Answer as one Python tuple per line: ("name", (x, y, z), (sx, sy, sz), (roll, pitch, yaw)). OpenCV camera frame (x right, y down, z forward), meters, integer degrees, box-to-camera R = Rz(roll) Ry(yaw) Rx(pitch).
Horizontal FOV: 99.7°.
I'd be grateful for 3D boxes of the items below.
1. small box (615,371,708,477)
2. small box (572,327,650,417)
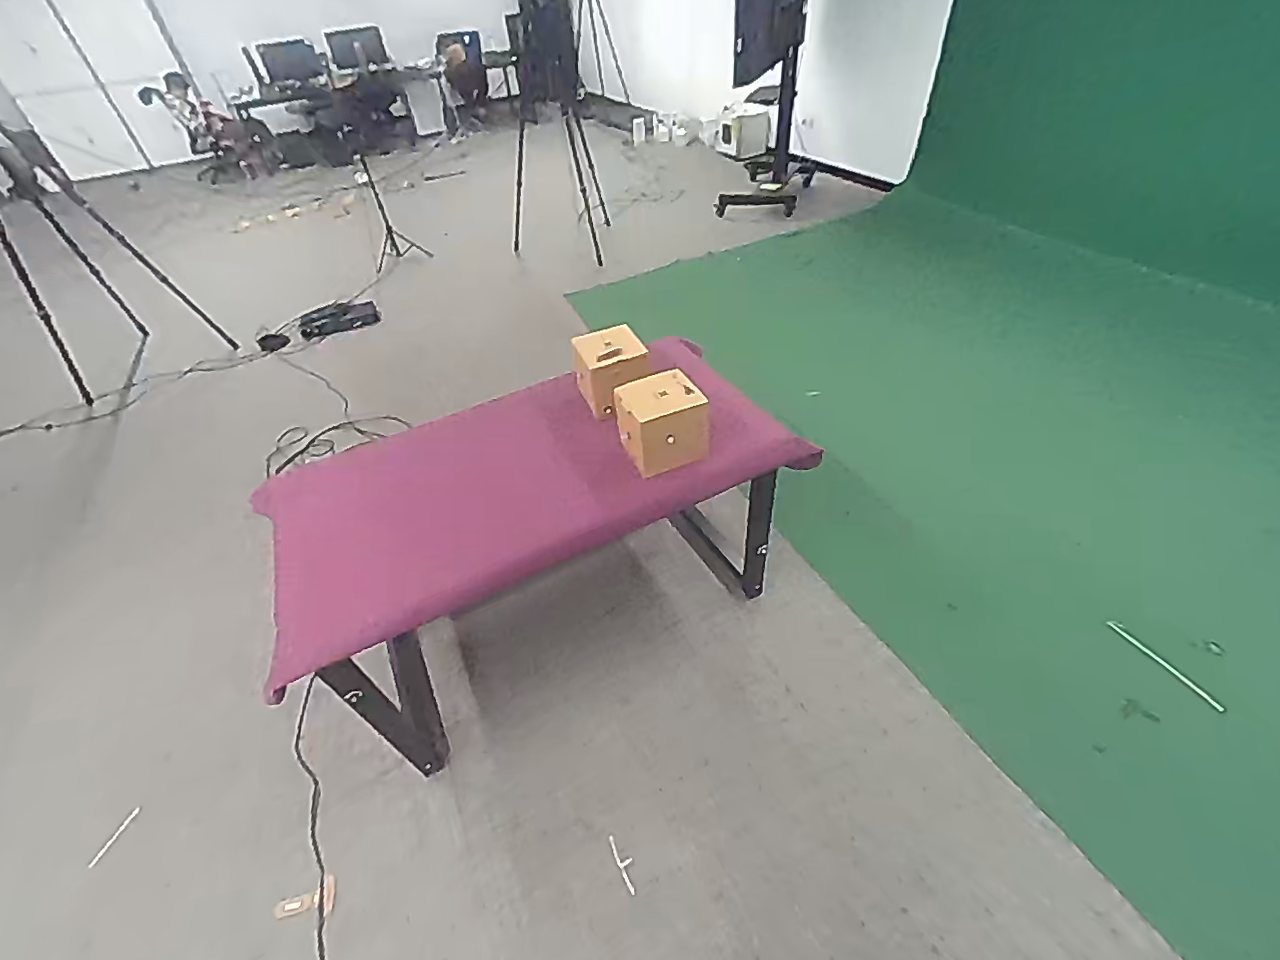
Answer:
("small box", (0.057, -0.132, 1.309), (0.179, 0.176, 0.168), (-20, 45, -12))
("small box", (-0.073, -0.290, 1.488), (0.168, 0.176, 0.179), (-18, 45, -12))
